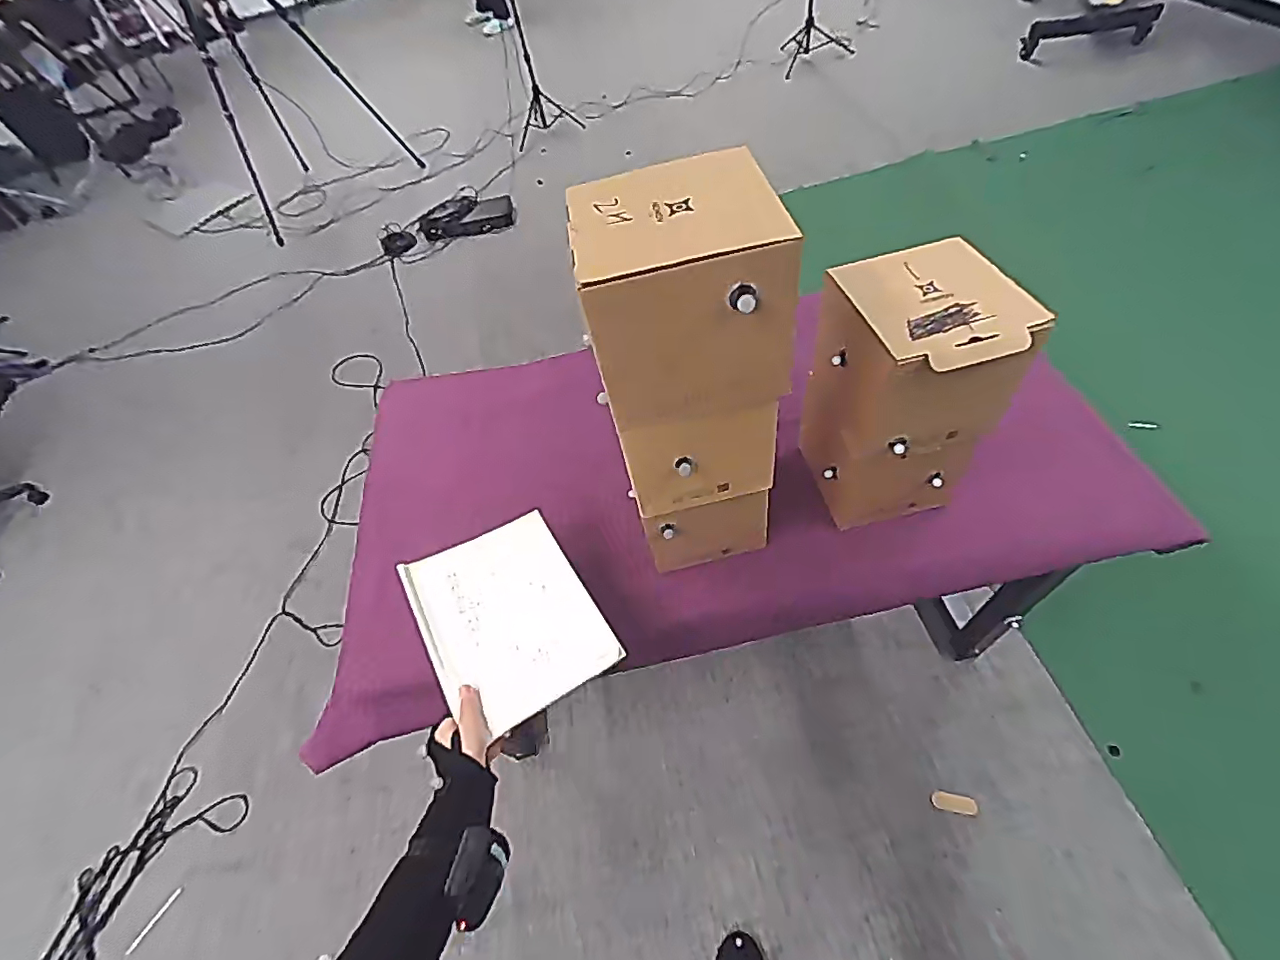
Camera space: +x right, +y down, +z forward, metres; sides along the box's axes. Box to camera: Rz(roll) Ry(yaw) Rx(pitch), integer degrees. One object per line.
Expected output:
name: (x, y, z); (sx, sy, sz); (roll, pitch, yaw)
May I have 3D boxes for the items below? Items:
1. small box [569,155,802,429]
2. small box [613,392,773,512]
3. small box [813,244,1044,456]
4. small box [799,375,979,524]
small box: (0.040, -0.173, 0.520); (0.179, 0.176, 0.168); (-12, 52, 3)
small box: (0.056, -0.079, 0.655); (0.168, 0.176, 0.179); (-13, 52, 1)
small box: (0.324, -0.147, 0.653); (0.168, 0.176, 0.179); (-14, 52, -1)
small box: (0.343, -0.052, 0.786); (0.168, 0.176, 0.179); (-13, 52, 0)
